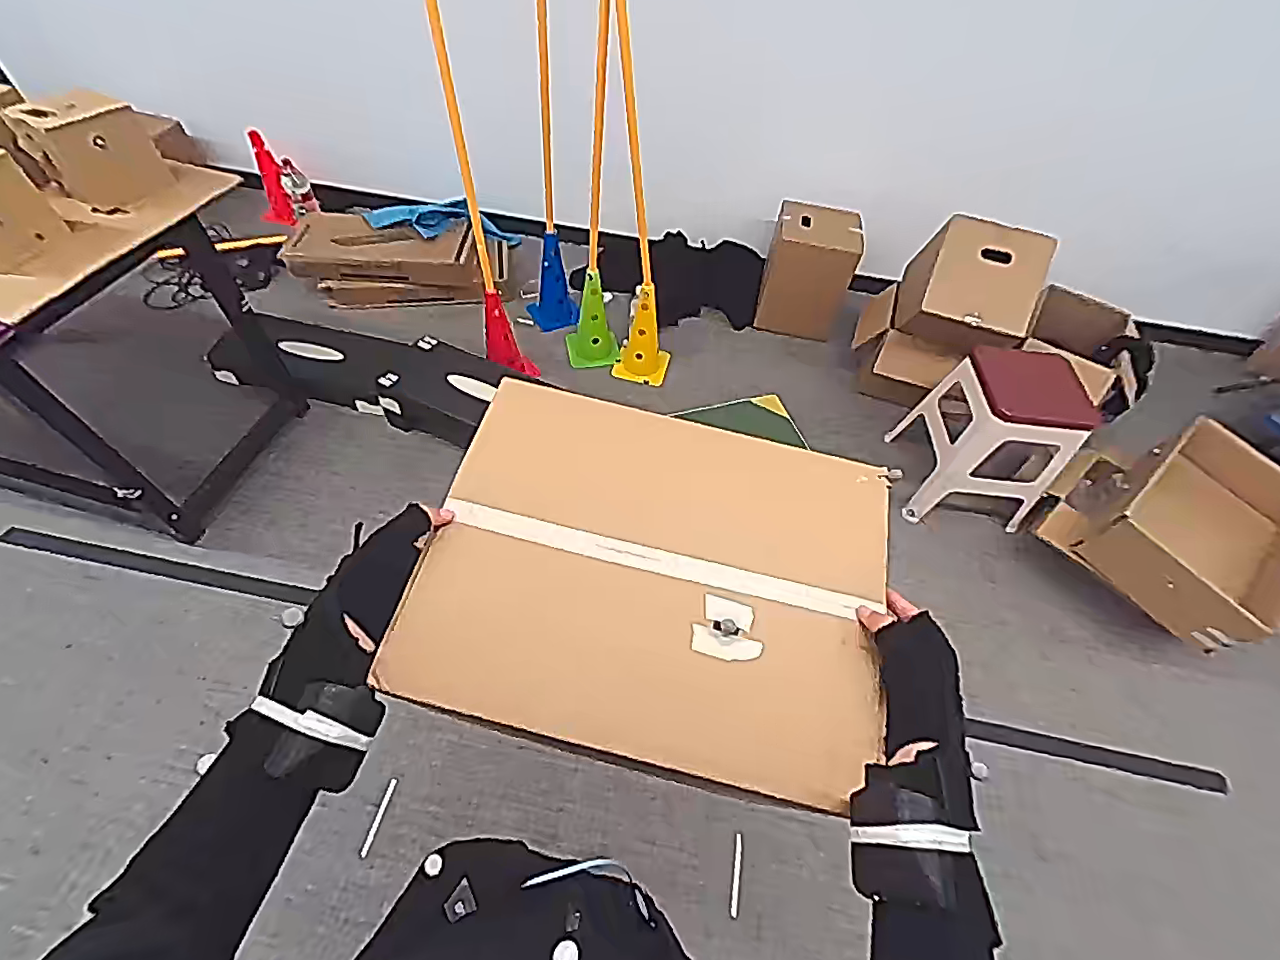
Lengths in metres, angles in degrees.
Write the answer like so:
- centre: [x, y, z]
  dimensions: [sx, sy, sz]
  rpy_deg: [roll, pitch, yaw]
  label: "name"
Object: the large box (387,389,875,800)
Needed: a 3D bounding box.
- centre: [0.004, 0.146, 0.627]
  dimensions: [0.408, 0.320, 0.320]
  rpy_deg: [14, 62, 1]
  label: "large box"
